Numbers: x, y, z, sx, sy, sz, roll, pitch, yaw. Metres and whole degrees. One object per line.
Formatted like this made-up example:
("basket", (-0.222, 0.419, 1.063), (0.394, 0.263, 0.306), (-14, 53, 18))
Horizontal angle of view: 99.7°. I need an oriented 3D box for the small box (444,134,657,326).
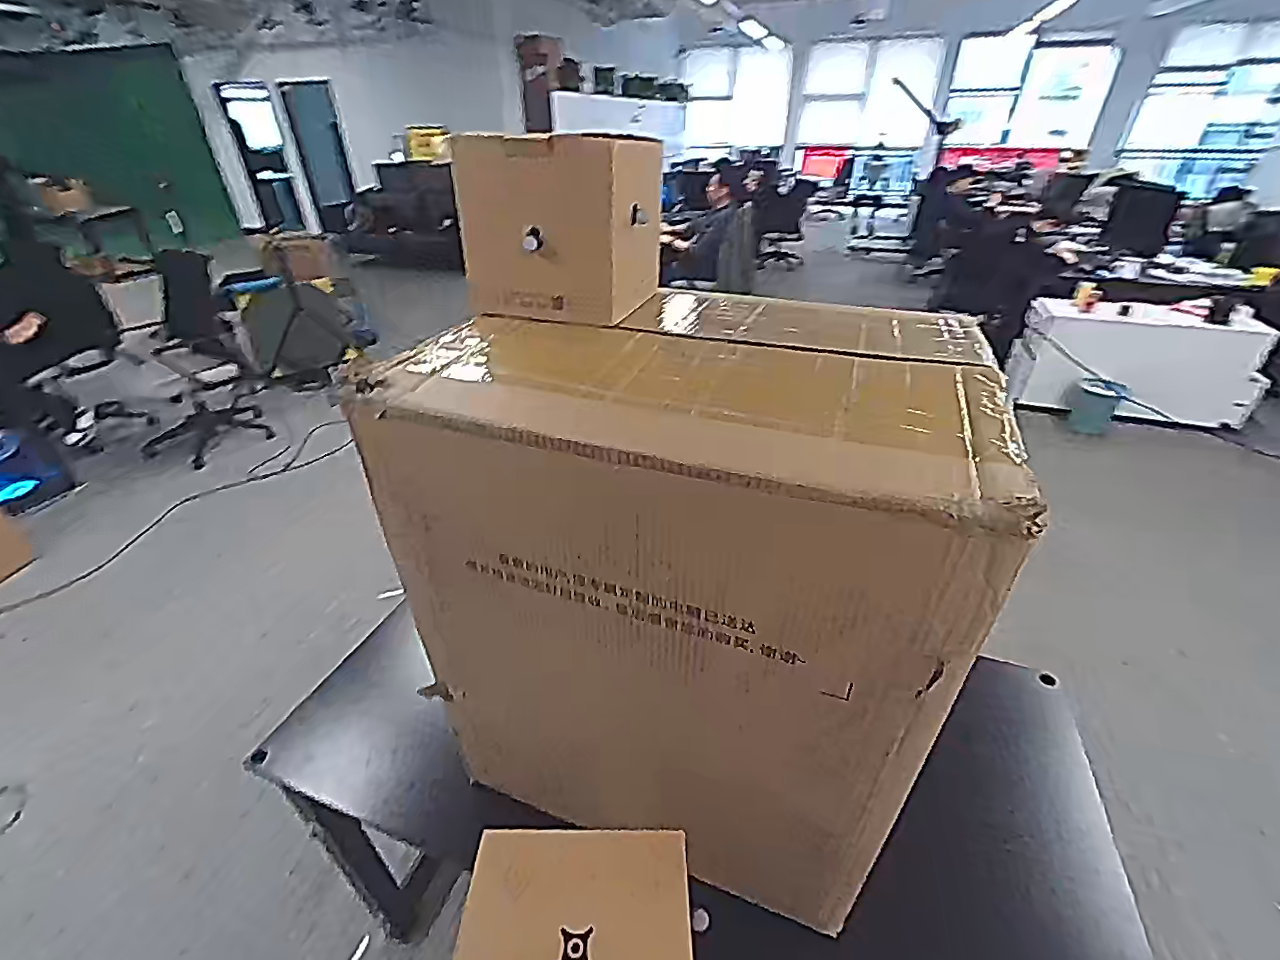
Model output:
("small box", (-0.081, -0.276, 0.591), (0.168, 0.176, 0.179), (9, 33, 13))
